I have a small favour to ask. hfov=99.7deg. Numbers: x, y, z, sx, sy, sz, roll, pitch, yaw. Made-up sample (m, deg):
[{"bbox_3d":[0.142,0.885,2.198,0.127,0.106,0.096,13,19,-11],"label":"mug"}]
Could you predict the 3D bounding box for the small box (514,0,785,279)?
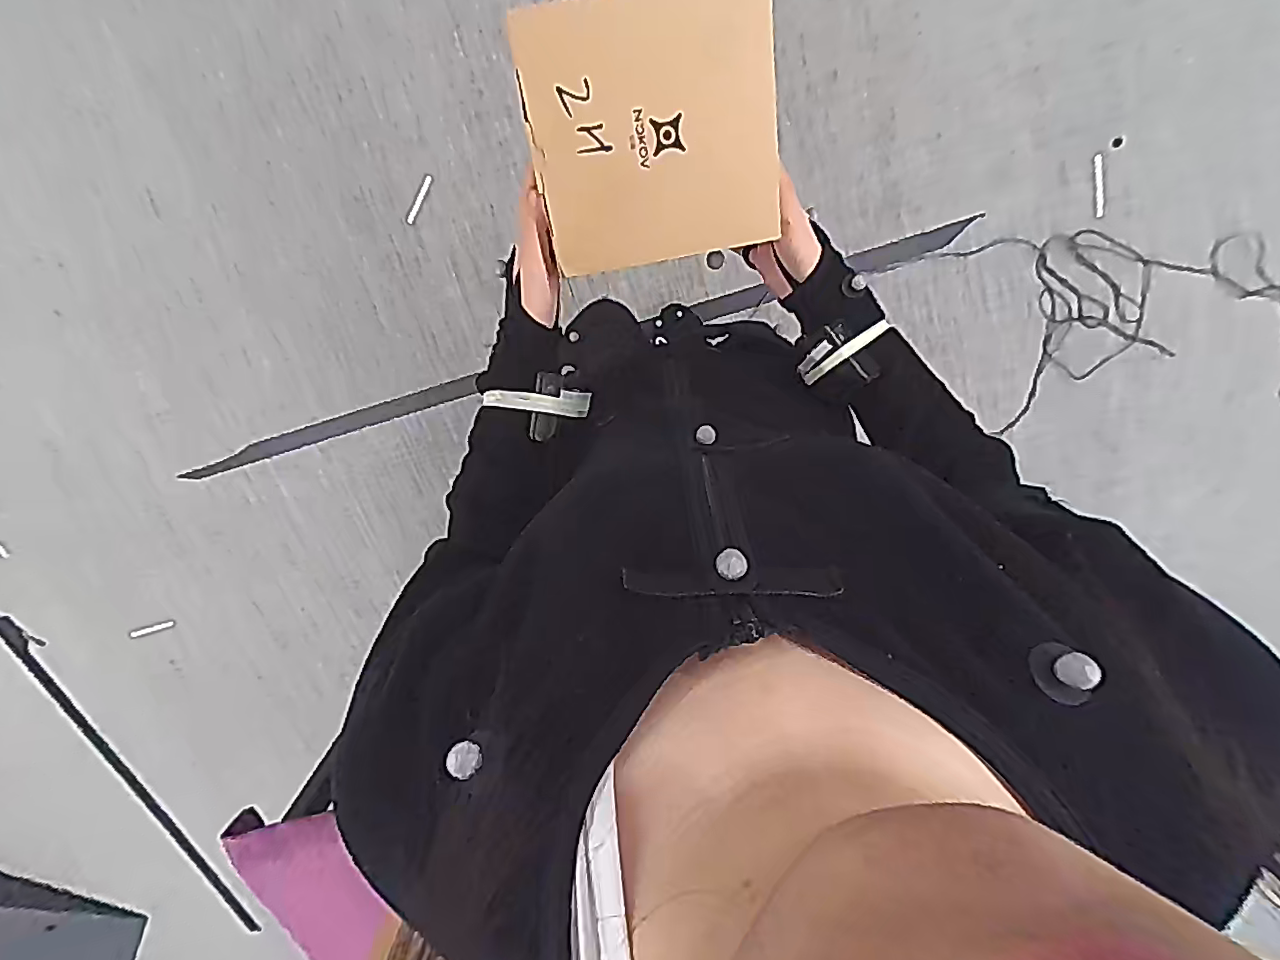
[{"bbox_3d":[0.008,-0.275,0.450,0.179,0.176,0.168,-10,116,0],"label":"small box"}]
